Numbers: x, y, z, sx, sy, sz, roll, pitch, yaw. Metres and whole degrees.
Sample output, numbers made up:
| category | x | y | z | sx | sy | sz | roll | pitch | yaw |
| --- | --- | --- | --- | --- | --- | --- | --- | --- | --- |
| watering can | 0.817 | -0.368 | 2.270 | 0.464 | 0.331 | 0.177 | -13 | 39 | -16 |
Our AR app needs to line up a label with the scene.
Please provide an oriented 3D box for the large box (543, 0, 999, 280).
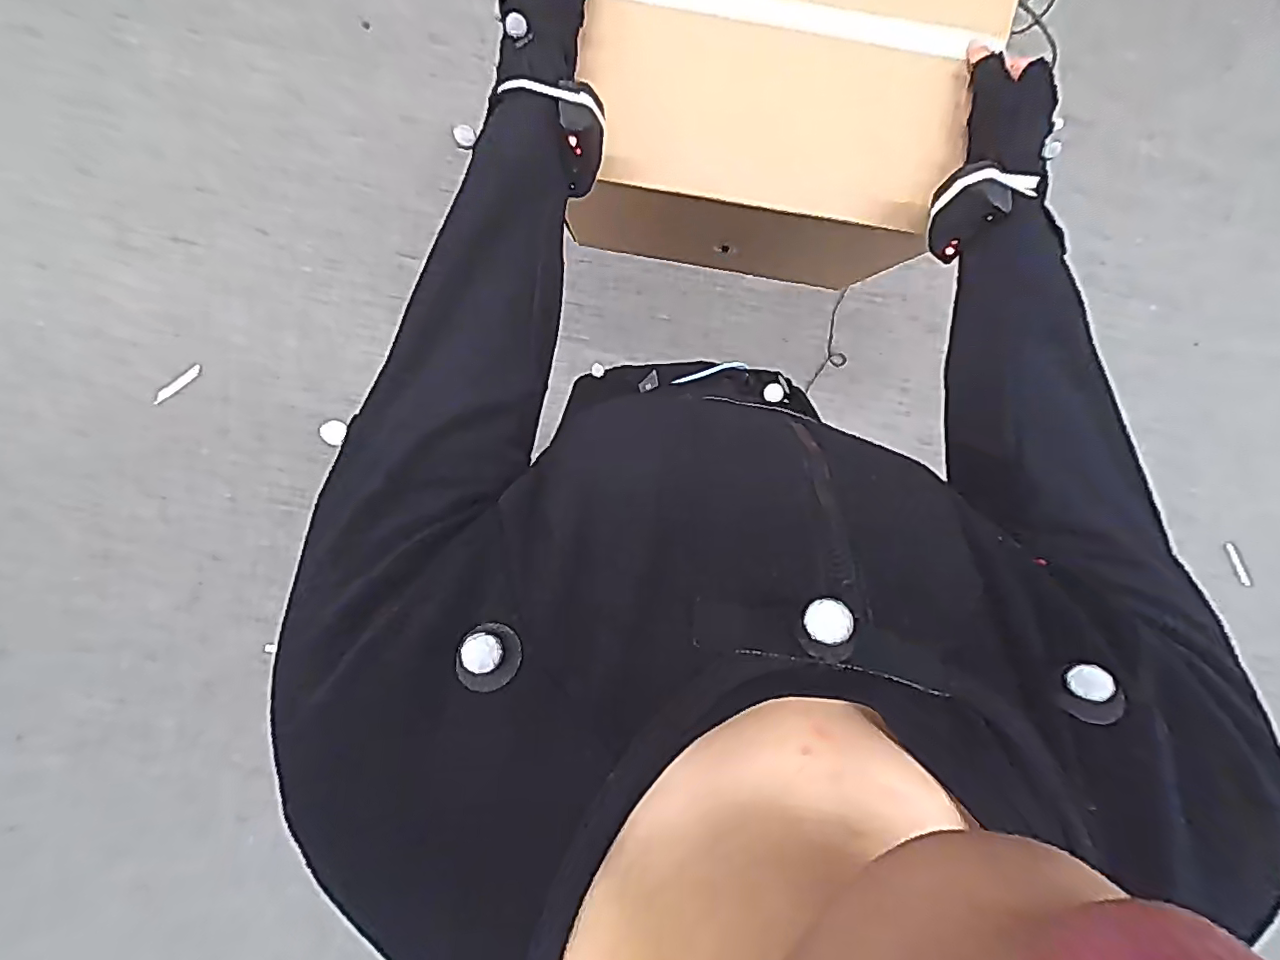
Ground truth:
| category | x | y | z | sx | sy | sz | roll | pitch | yaw |
| --- | --- | --- | --- | --- | --- | --- | --- | --- | --- |
| large box | 0.125 | -0.444 | 0.642 | 0.408 | 0.320 | 0.320 | 9 | 100 | -2 |
